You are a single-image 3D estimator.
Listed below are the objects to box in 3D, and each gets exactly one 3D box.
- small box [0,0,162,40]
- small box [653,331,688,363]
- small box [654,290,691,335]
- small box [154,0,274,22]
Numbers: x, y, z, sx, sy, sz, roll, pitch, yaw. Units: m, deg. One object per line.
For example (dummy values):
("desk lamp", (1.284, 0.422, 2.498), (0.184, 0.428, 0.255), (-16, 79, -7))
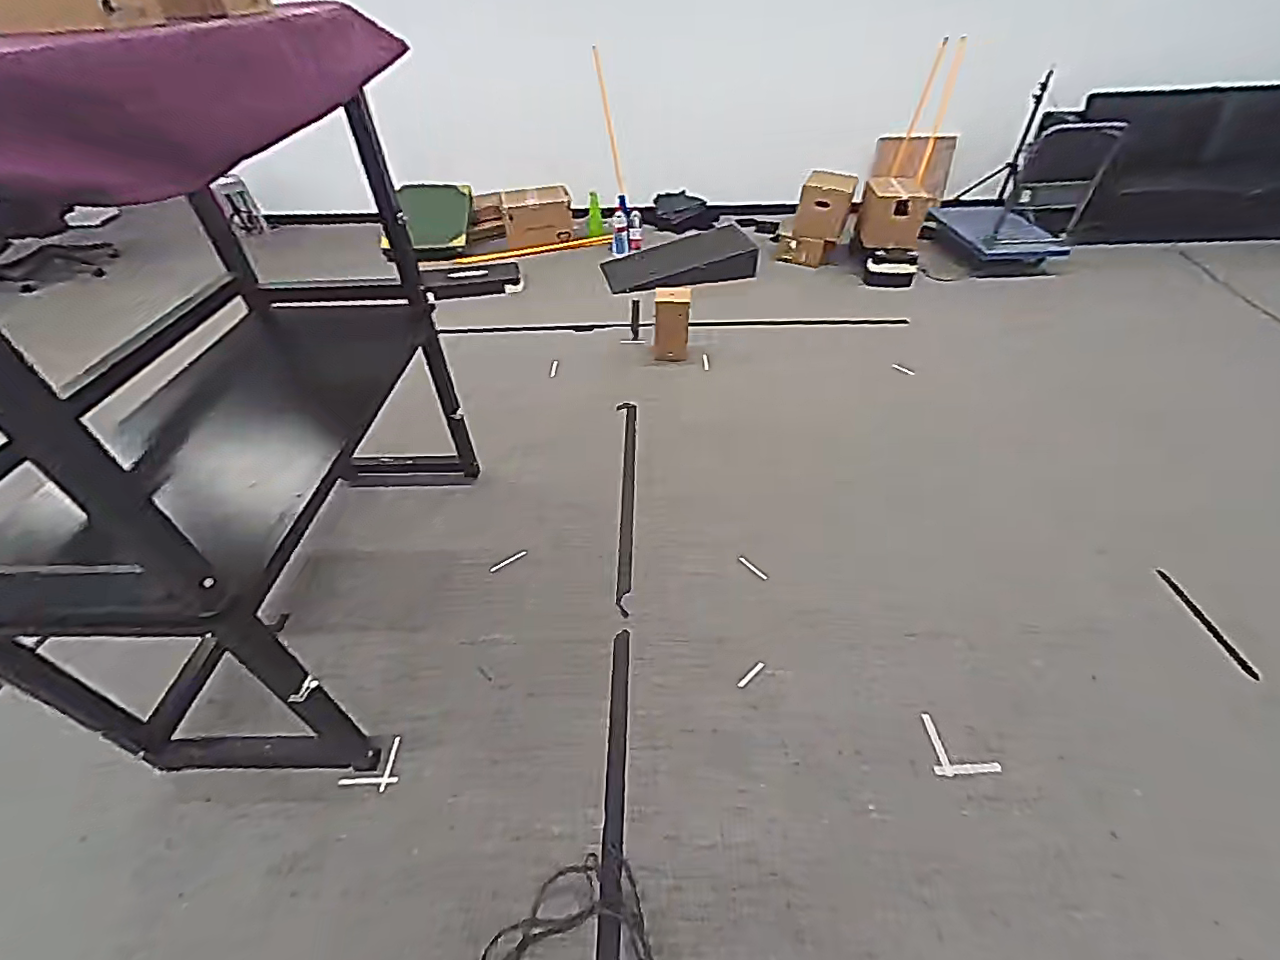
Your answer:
("small box", (-0.910, -0.799, 0.835), (0.179, 0.176, 0.168), (-4, 43, -2))
("small box", (0.162, -0.735, 2.880), (0.179, 0.176, 0.168), (1, 43, 1))
("small box", (0.166, -0.853, 2.767), (0.179, 0.176, 0.168), (2, 43, 4))
("small box", (-0.889, -1.027, 1.076), (0.179, 0.176, 0.168), (2, 44, 4))
